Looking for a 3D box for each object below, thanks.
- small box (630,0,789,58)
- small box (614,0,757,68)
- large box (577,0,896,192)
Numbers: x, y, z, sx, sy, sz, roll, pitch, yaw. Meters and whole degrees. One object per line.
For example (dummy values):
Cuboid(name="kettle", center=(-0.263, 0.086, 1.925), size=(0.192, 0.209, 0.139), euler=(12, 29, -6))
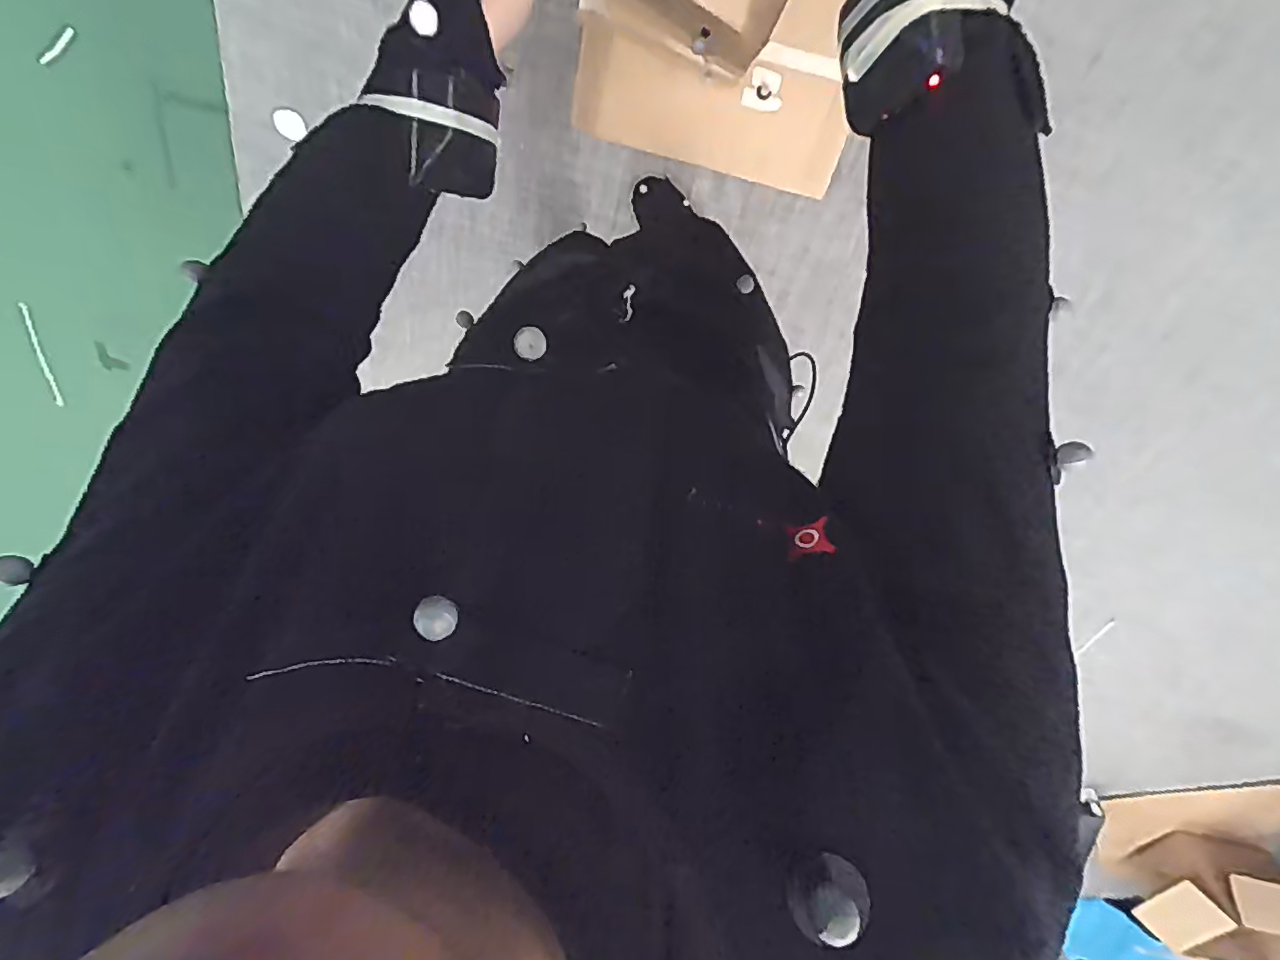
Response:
Cuboid(name="small box", center=(0.047, -0.425, 0.369), size=(0.179, 0.176, 0.168), euler=(24, 121, -9))
Cuboid(name="small box", center=(0.066, -0.517, 0.501), size=(0.179, 0.176, 0.168), euler=(23, 122, -9))
Cuboid(name="large box", center=(0.138, -0.690, 0.867), size=(0.408, 0.320, 0.320), euler=(13, 124, -3))
